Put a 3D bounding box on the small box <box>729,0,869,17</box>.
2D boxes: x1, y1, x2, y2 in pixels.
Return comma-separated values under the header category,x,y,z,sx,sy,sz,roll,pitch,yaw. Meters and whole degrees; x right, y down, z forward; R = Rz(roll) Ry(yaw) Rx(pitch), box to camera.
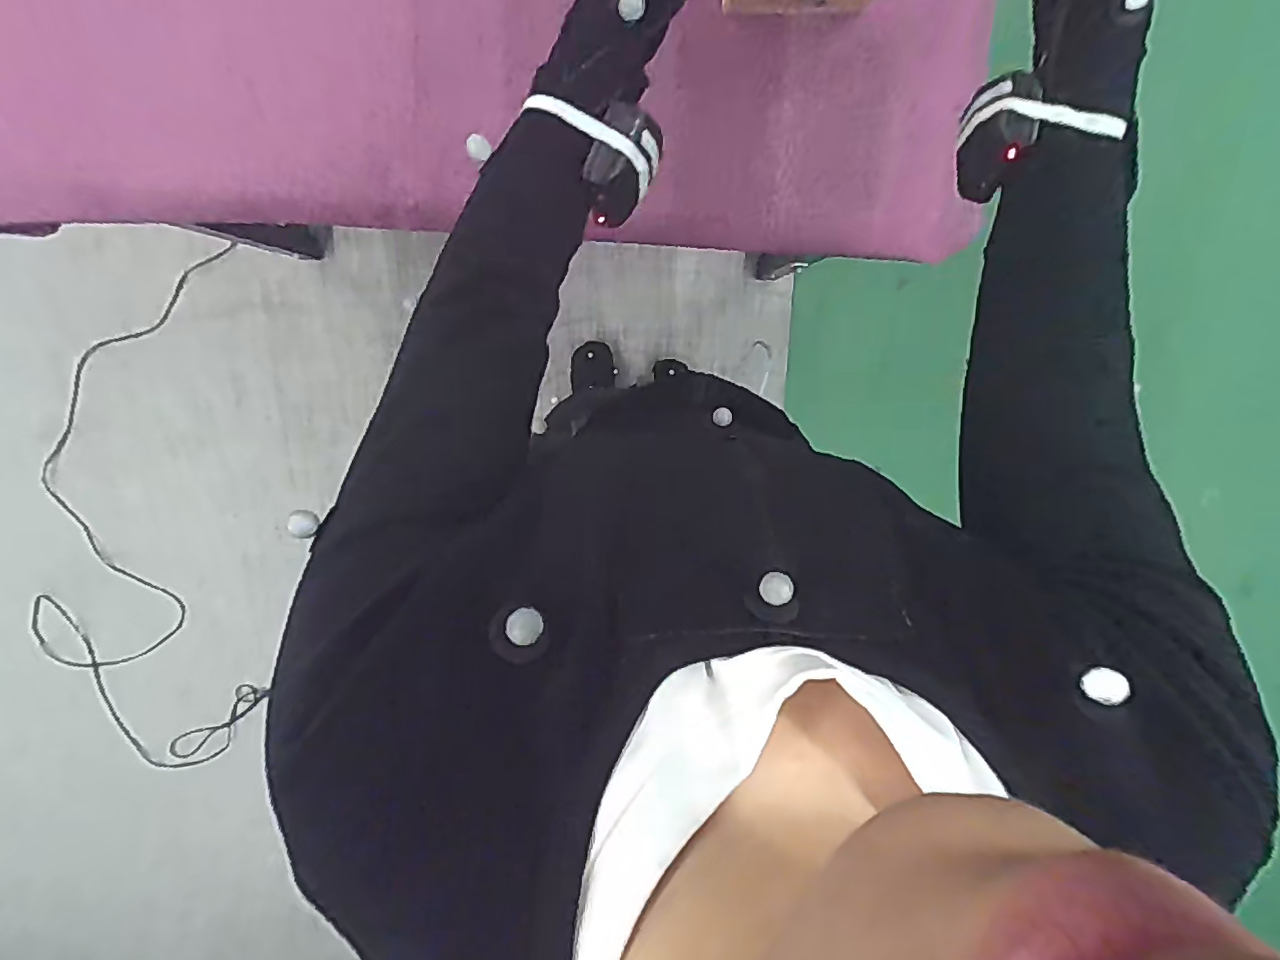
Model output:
category,x,y,z,sx,sy,sz,roll,pitch,yaw
small box,0.175,-0.590,0.511,0.168,0.176,0.179,-1,104,-1
